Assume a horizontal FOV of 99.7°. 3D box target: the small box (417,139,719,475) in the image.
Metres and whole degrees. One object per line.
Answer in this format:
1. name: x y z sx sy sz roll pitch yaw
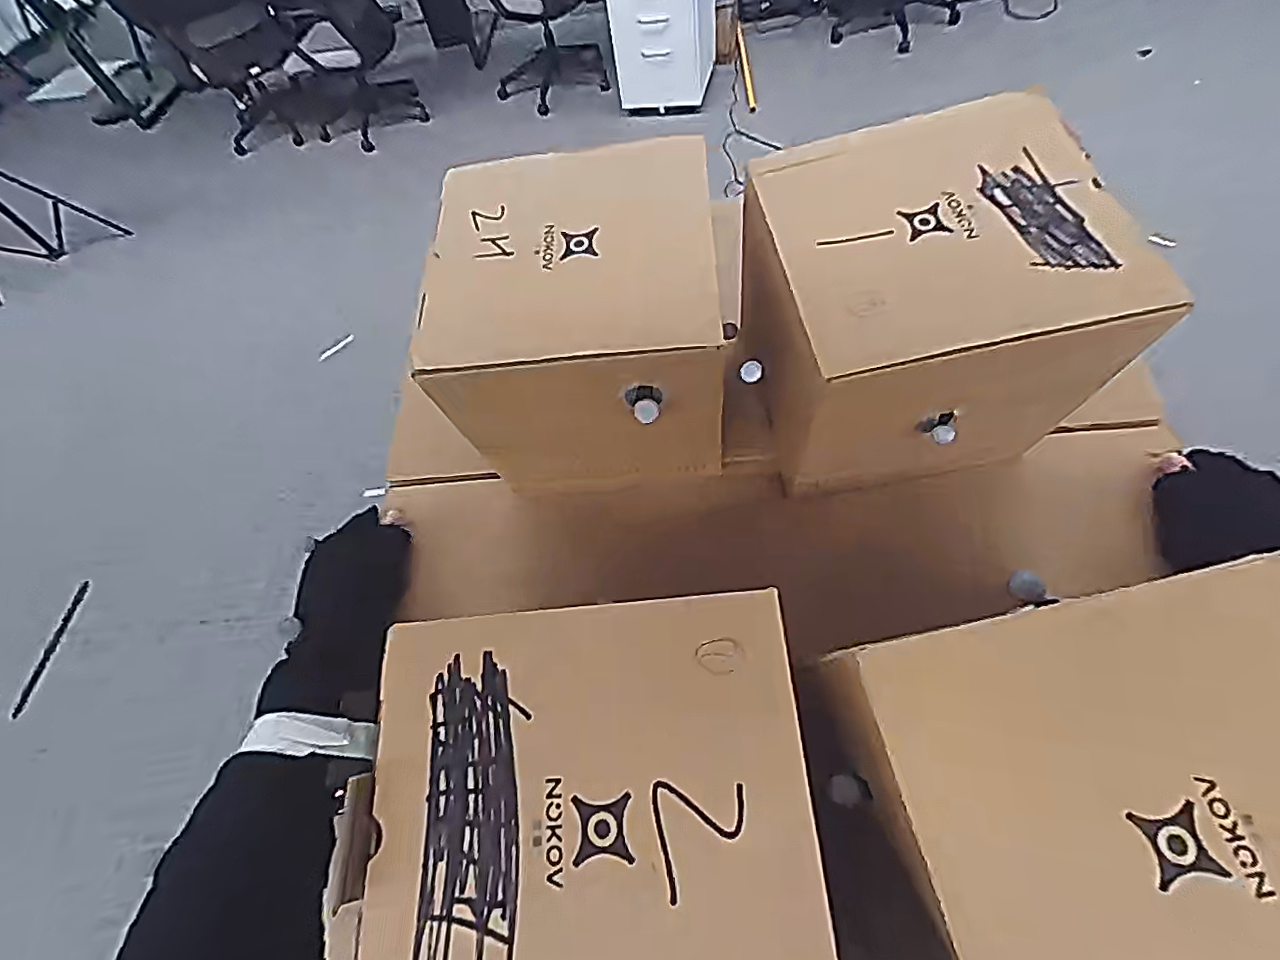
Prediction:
1. small box: -0.033 -0.112 0.406 0.179 0.176 0.168 -4 66 8

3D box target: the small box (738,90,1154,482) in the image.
1. small box: 0.169 -0.114 0.374 0.179 0.176 0.168 -12 66 5
